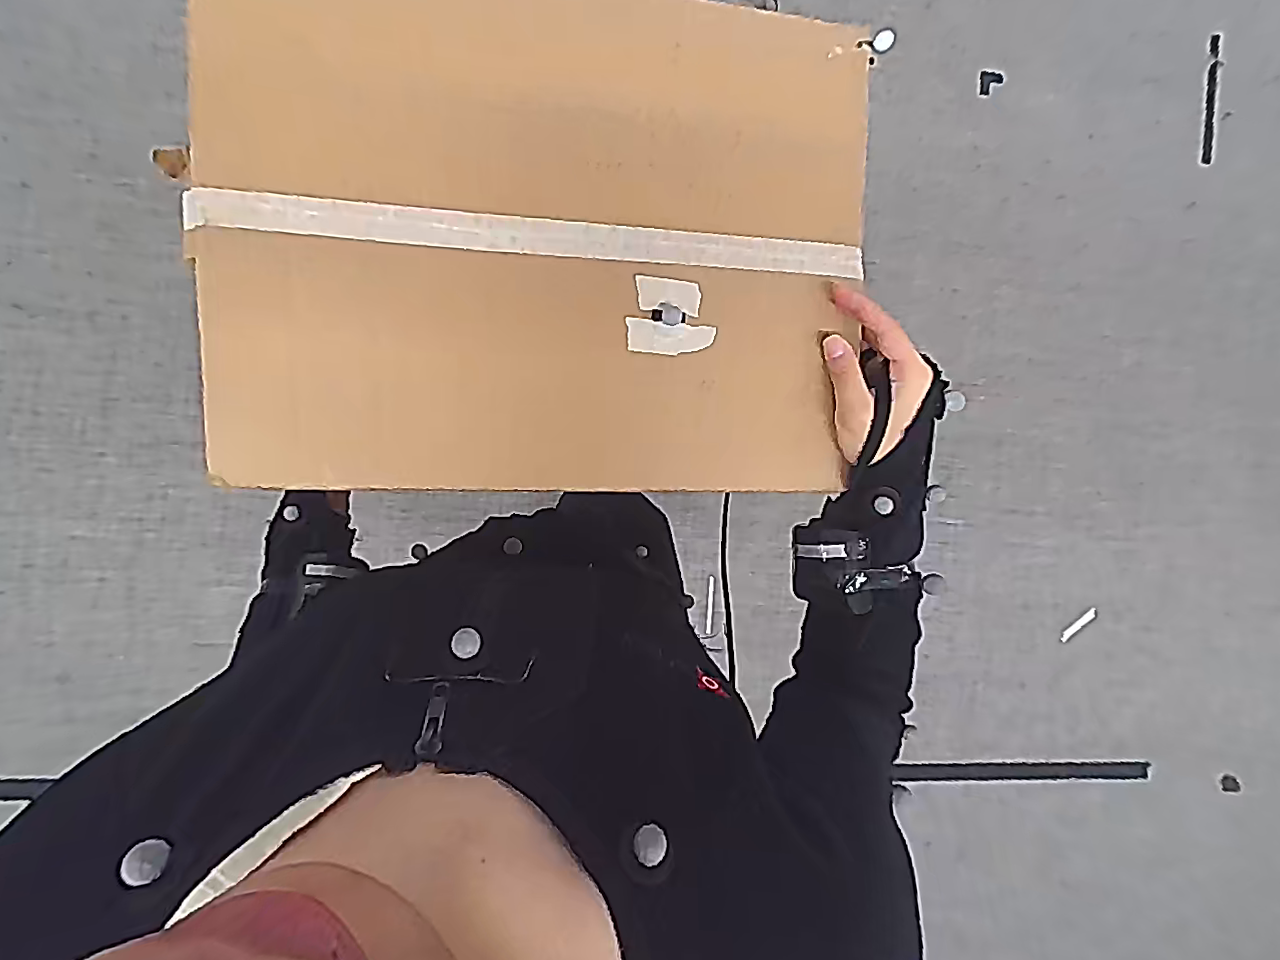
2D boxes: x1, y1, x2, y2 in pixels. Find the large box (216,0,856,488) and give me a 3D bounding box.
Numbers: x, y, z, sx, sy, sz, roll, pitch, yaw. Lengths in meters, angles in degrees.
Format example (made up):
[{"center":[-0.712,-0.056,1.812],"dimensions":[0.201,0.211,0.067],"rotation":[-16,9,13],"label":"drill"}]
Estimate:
[{"center":[-0.074,-0.163,0.494],"dimensions":[0.408,0.320,0.320],"rotation":[0,95,-11],"label":"large box"}]
